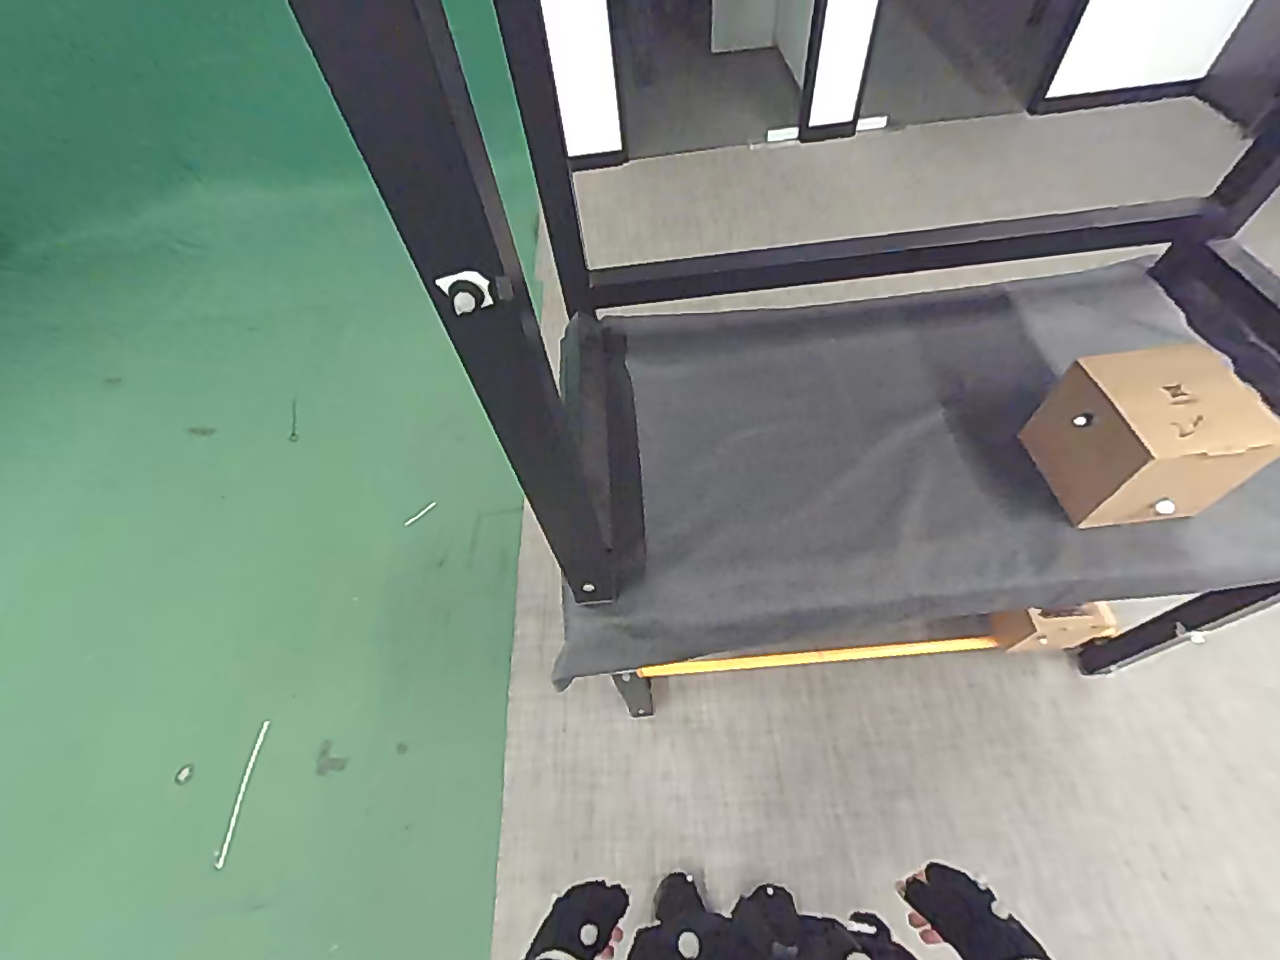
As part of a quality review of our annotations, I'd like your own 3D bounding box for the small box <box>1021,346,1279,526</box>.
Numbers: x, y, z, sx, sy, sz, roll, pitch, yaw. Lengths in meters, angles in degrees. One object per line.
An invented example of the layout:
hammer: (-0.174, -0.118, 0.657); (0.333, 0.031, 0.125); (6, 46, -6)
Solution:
small box: (0.681, -0.058, 0.751); (0.168, 0.176, 0.179); (-7, 54, 2)
